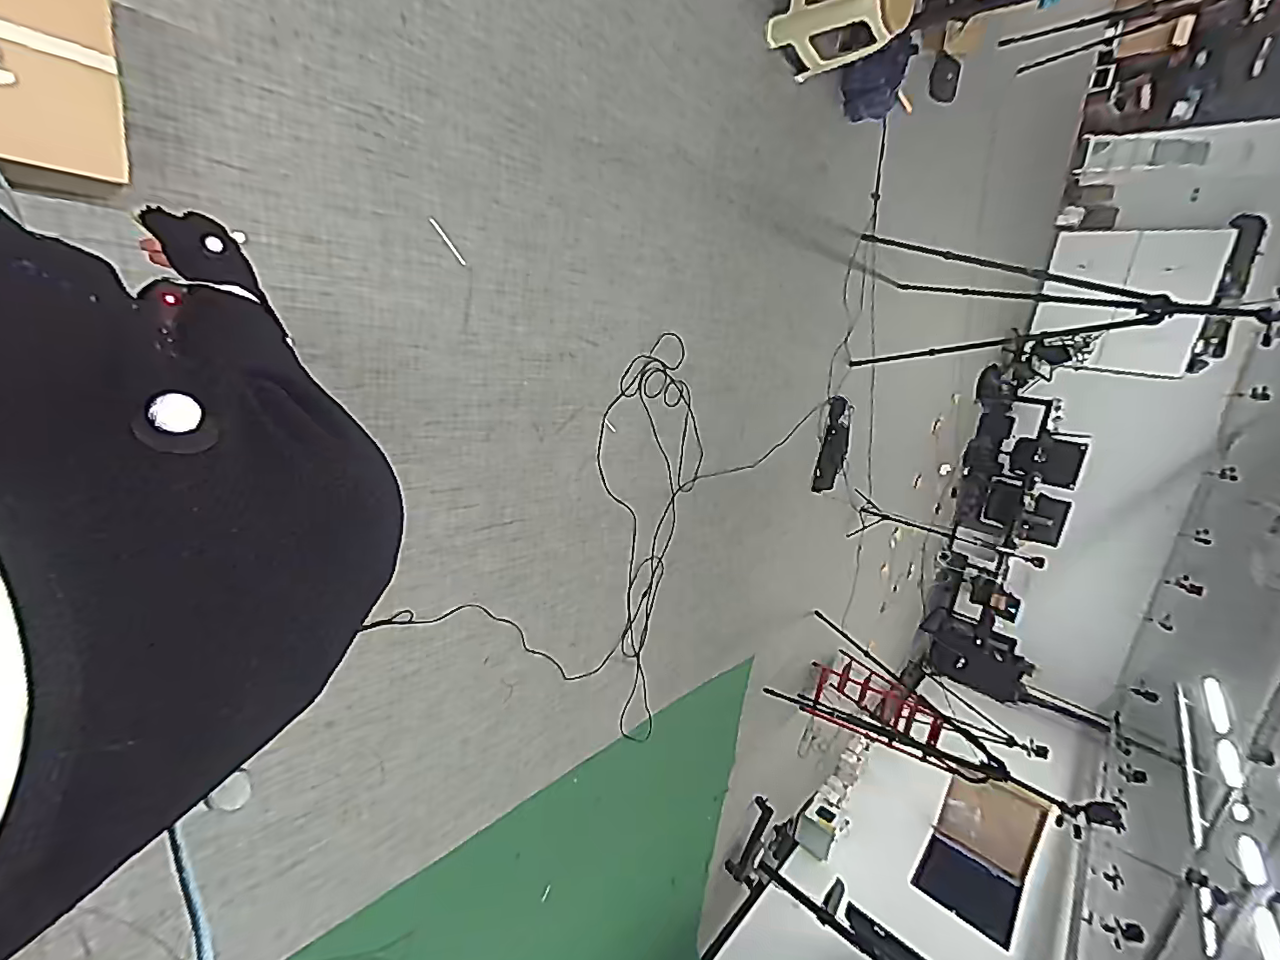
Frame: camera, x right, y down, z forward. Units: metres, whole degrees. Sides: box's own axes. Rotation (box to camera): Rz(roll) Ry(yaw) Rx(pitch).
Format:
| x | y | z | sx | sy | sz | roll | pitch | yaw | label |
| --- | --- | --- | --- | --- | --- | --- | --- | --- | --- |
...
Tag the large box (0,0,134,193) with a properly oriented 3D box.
| x | y | z | sx | sy | sz | roll | pitch | yaw | label |
| --- | --- | --- | --- | --- | --- | --- | --- | --- | --- |
| -1.001 | -0.621 | 0.739 | 0.408 | 0.320 | 0.320 | -9 | 113 | -47 | large box |
